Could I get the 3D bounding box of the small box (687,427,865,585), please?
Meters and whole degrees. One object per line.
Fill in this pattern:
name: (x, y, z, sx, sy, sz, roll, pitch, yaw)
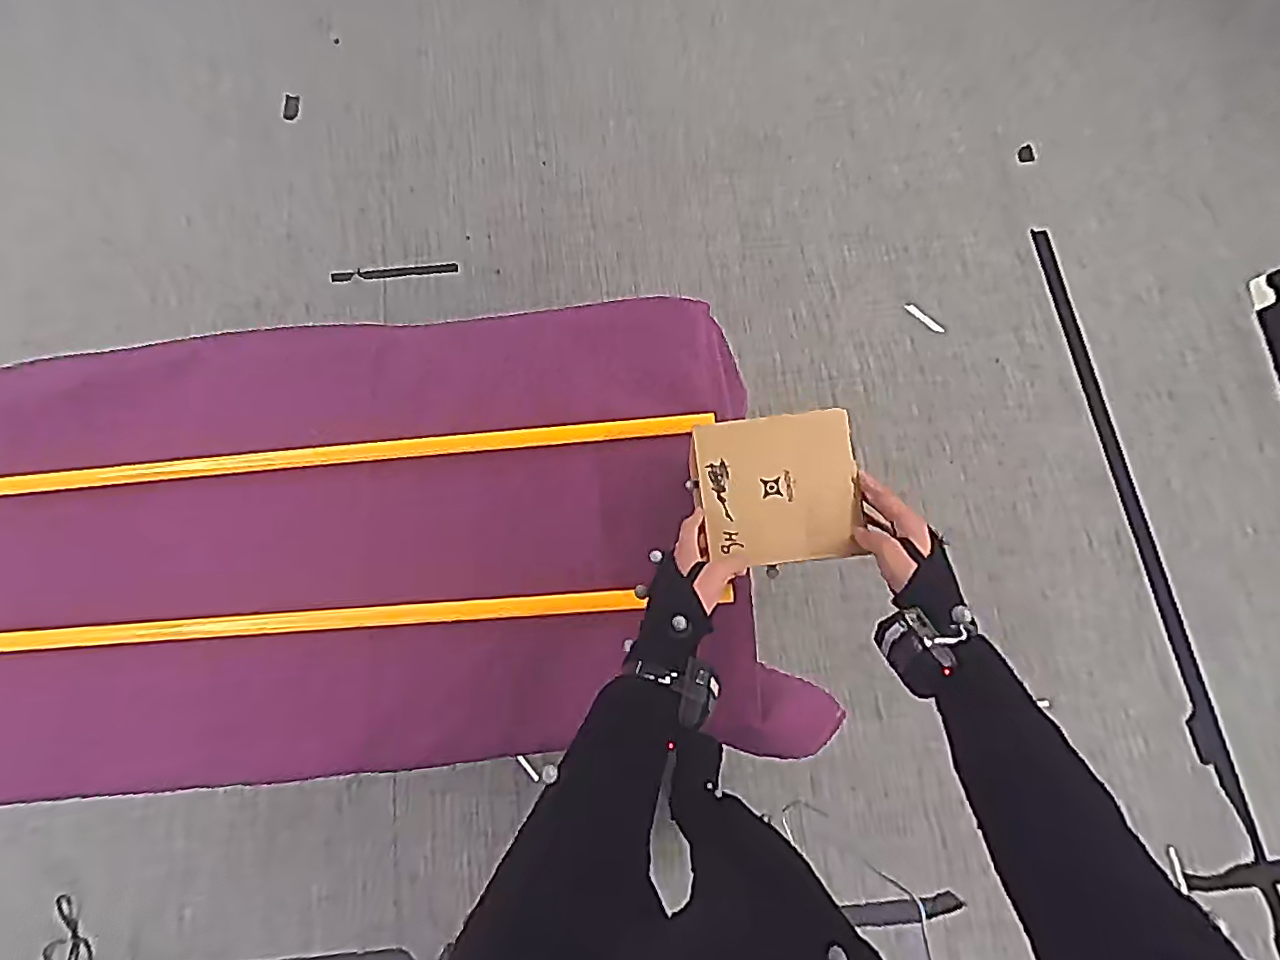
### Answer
small box: (0.156, 0.039, 0.681, 0.179, 0.176, 0.168, -6, 80, 3)
